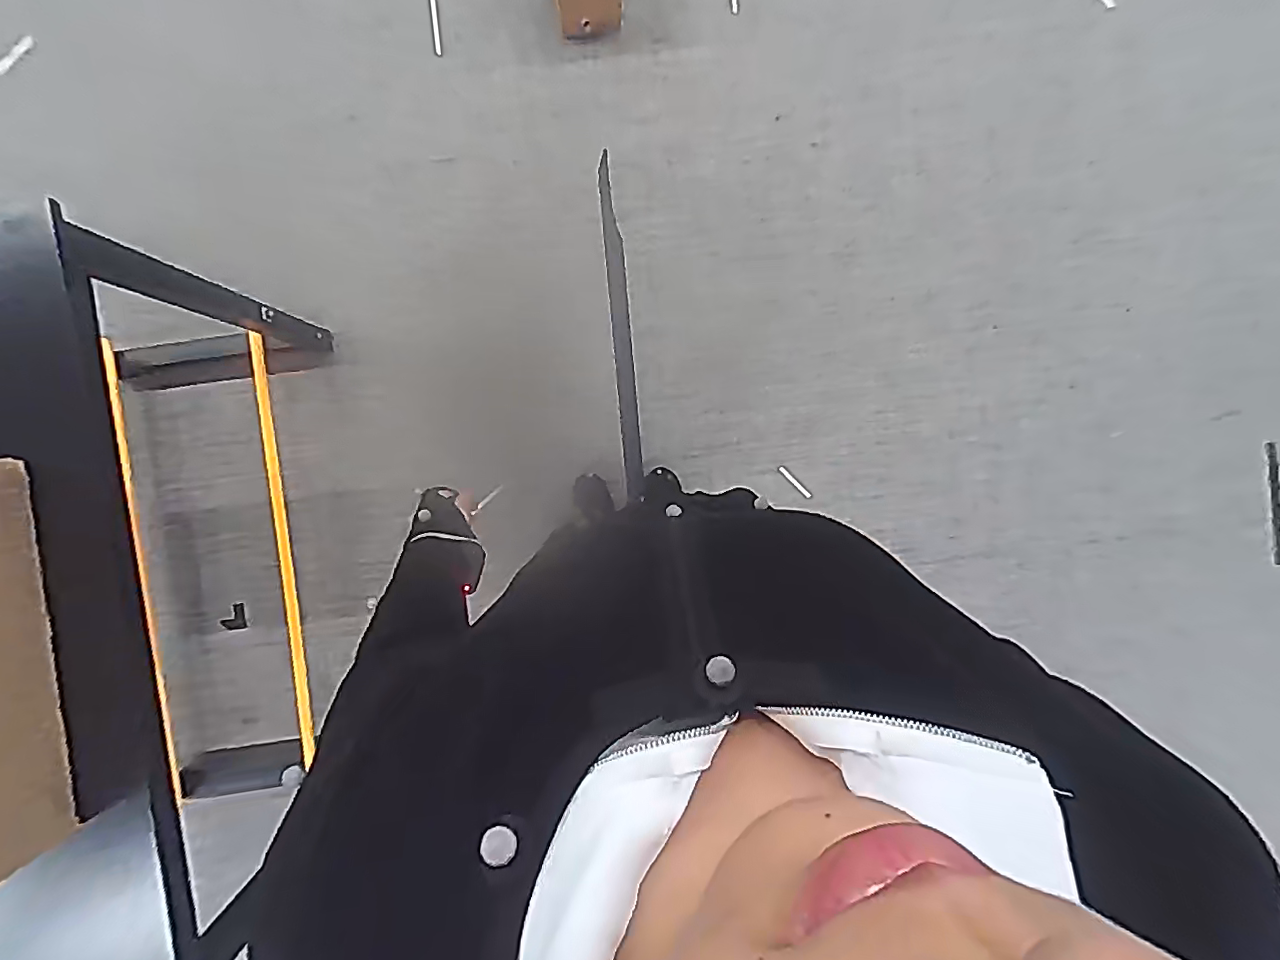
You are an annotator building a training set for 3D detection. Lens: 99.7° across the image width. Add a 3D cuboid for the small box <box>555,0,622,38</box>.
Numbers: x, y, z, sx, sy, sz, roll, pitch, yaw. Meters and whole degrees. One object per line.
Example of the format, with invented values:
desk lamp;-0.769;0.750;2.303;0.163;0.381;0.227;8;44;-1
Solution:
small box;-0.140;-1.270;1.356;0.168;0.176;0.179;-11;94;0
